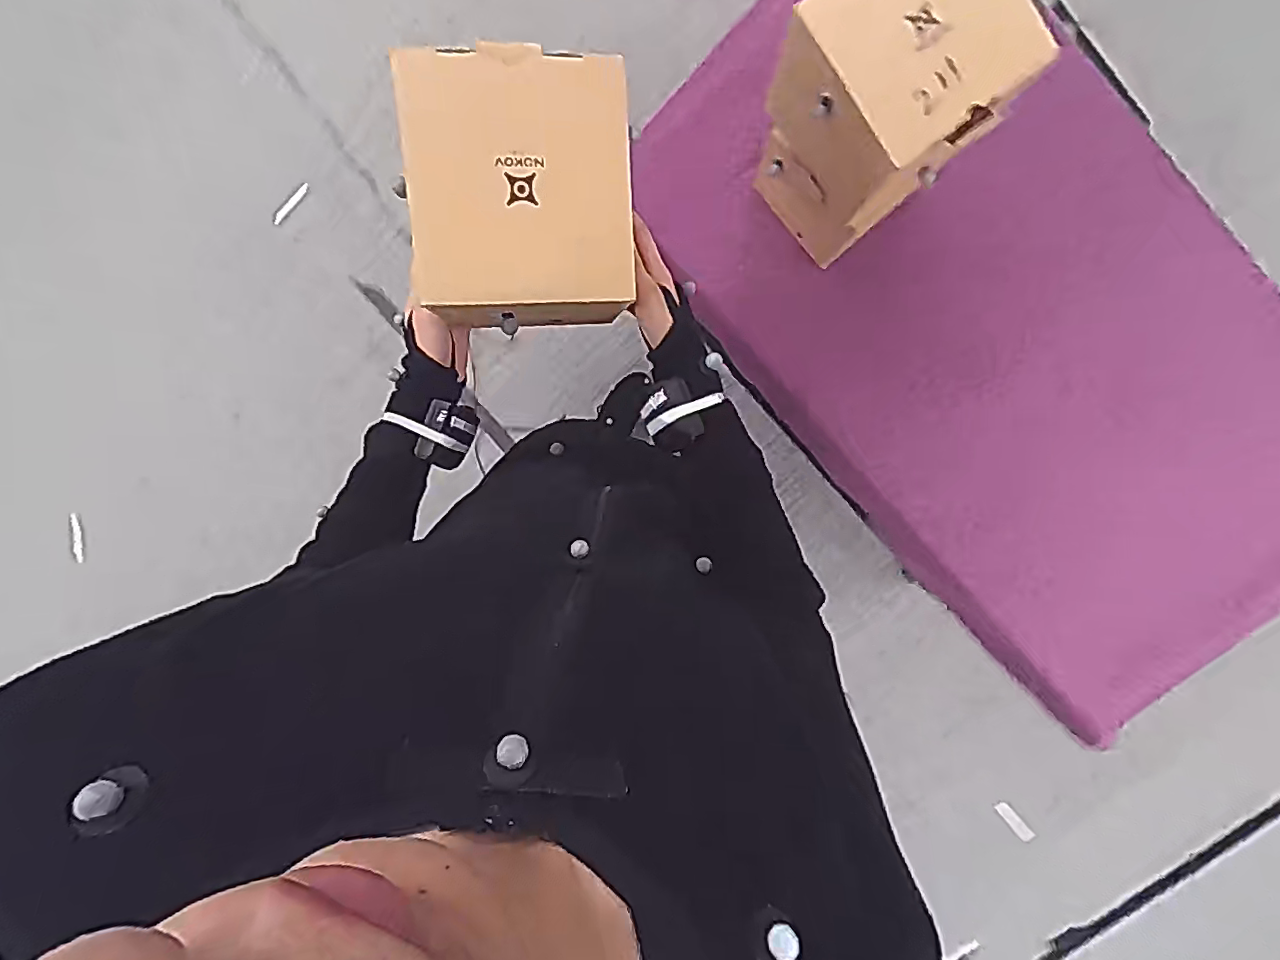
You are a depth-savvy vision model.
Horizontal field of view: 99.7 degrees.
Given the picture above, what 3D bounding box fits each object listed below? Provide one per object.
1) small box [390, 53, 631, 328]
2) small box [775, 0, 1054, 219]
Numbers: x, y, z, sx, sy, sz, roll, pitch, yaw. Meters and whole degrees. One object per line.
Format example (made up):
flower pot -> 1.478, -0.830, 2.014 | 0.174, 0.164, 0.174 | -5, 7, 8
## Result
small box -> -0.102, -0.232, 0.481 | 0.168, 0.176, 0.179 | -5, 99, -8
small box -> 0.262, -0.415, 0.566 | 0.168, 0.176, 0.179 | -33, 94, 8
